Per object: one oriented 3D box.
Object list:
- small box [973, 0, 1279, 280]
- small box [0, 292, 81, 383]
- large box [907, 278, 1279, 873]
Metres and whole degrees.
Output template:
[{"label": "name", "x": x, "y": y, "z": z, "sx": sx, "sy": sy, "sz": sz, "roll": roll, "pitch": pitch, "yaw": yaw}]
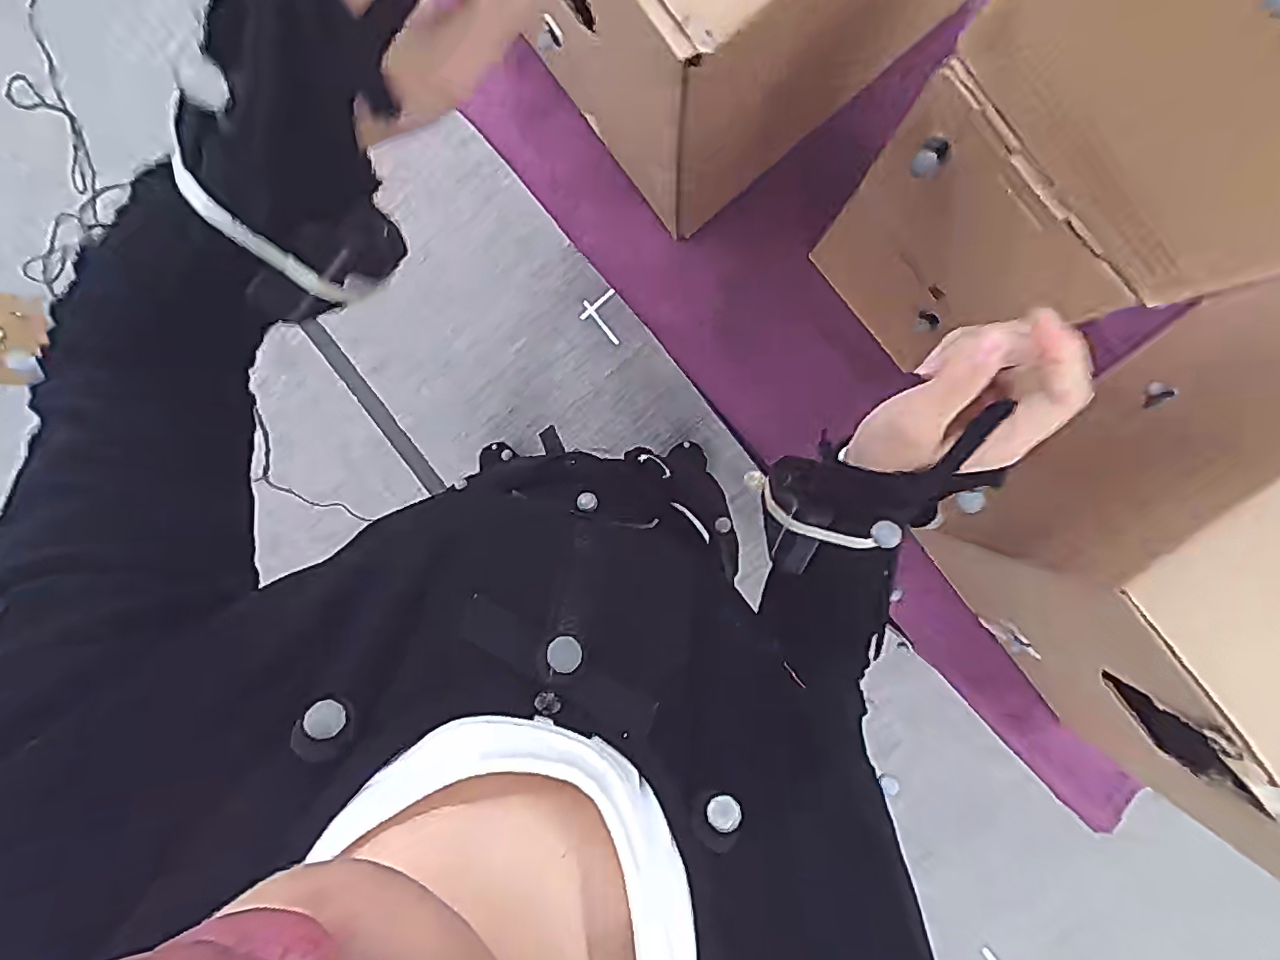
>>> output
[{"label": "small box", "x": 0.278, "y": -0.199, "z": 0.198, "sx": 0.168, "sy": 0.176, "sz": 0.179, "roll": -37, "pitch": 90, "yaw": 5}, {"label": "small box", "x": -1.626, "y": -0.366, "z": 1.389, "sx": 0.168, "sy": 0.176, "sz": 0.179, "roll": -45, "pitch": 90, "yaw": 7}, {"label": "large box", "x": 0.536, "y": 0.051, "z": 0.458, "sx": 0.408, "sy": 0.320, "sz": 0.320, "roll": -38, "pitch": 91, "yaw": 4}]
